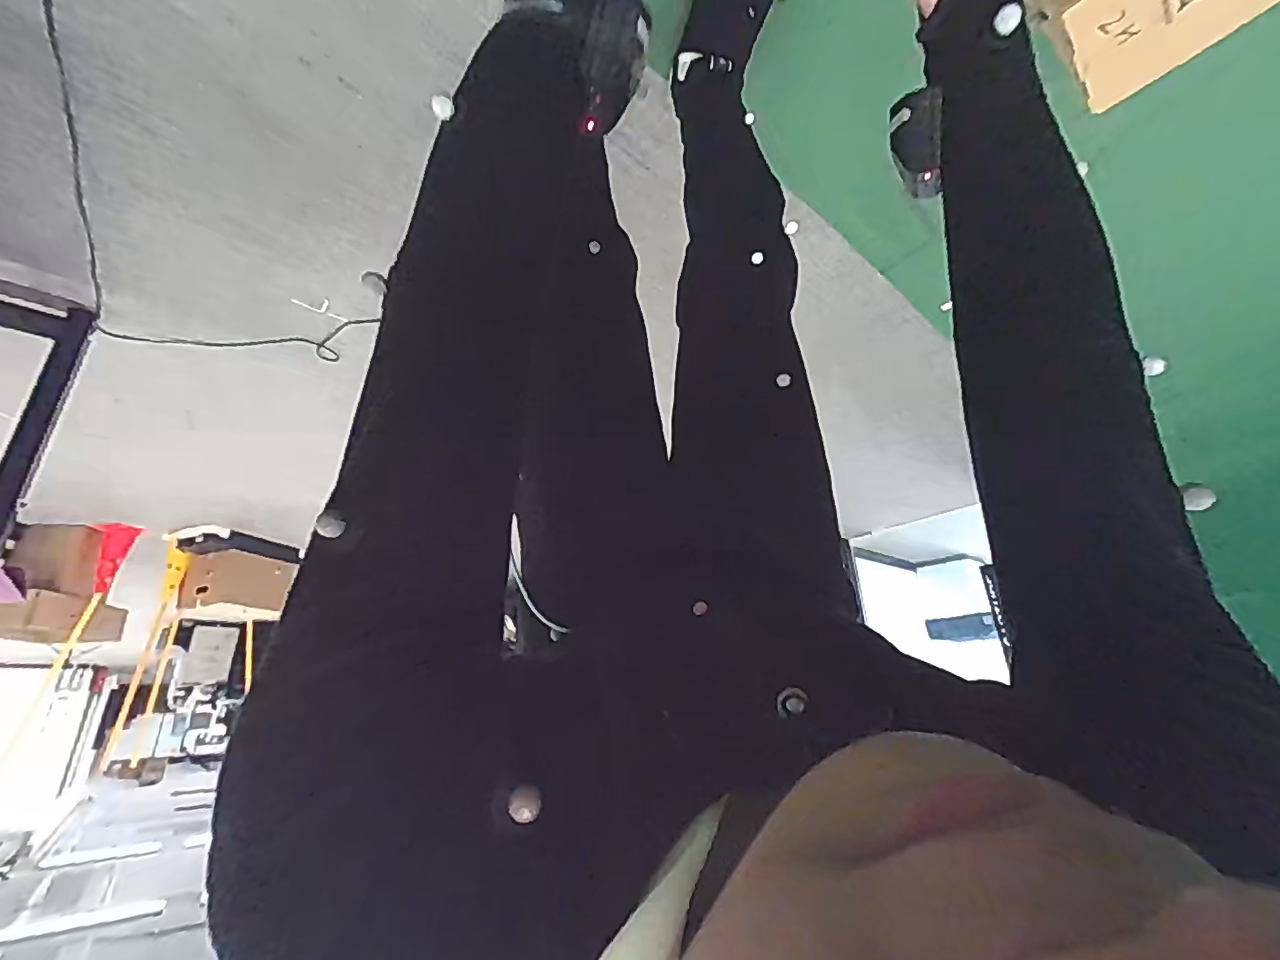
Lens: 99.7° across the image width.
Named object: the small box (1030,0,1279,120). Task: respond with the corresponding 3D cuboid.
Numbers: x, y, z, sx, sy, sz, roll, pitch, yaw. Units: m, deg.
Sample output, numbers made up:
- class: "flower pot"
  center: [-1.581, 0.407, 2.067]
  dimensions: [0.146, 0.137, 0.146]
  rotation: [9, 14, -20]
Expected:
- class: "small box"
  center: [0.556, -0.566, 0.595]
  dimensions: [0.168, 0.176, 0.179]
  rotation: [18, 150, -39]
